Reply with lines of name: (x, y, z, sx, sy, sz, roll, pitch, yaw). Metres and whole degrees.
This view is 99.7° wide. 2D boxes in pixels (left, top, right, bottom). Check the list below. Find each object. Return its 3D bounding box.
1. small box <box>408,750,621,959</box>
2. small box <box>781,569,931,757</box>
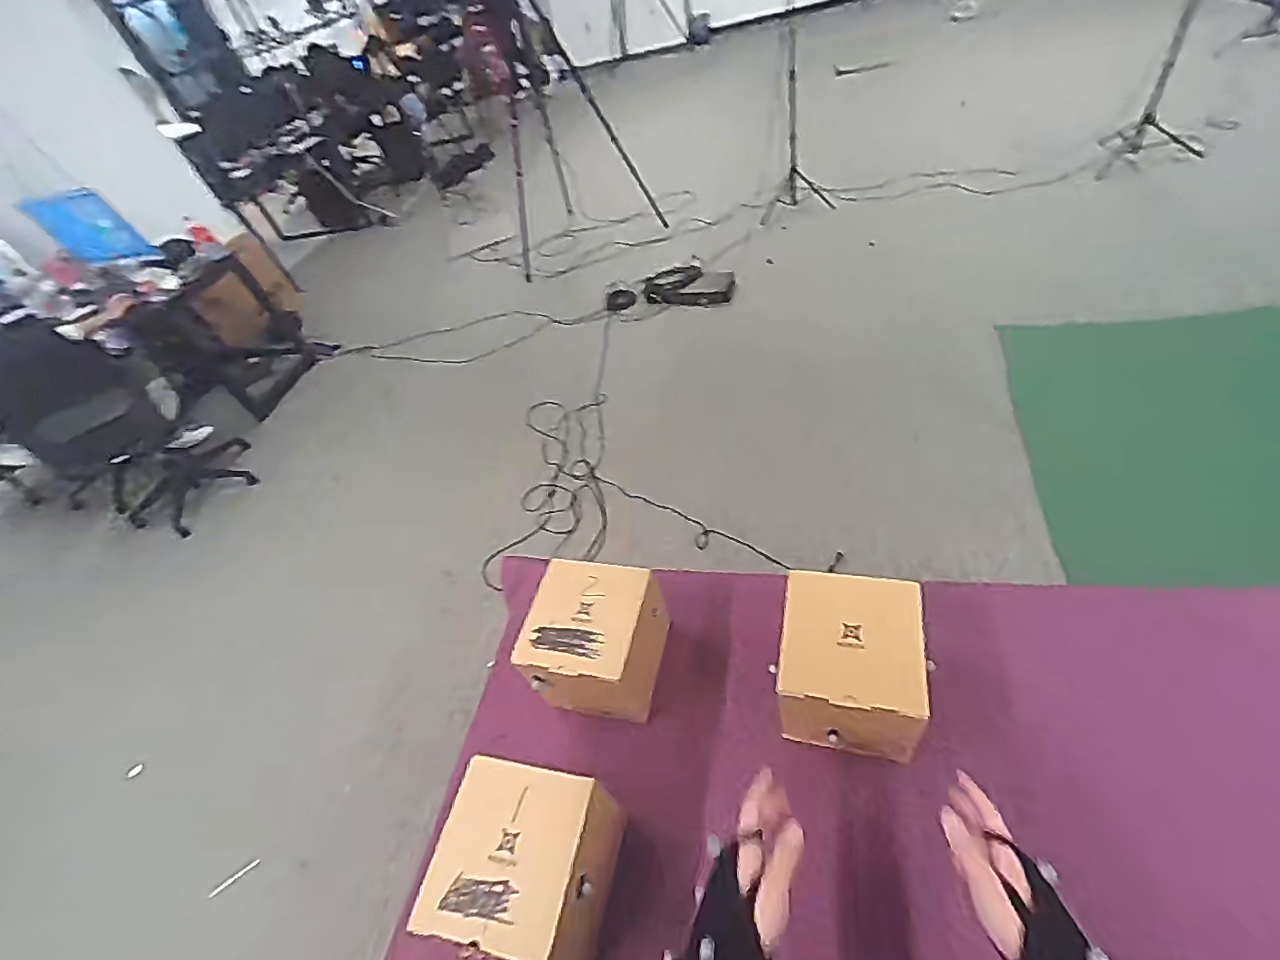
small box: (-0.133, 0.458, 0.654, 0.168, 0.176, 0.179, 2, 48, 18)
small box: (0.283, 0.247, 0.731, 0.168, 0.176, 0.179, 4, 51, 19)
